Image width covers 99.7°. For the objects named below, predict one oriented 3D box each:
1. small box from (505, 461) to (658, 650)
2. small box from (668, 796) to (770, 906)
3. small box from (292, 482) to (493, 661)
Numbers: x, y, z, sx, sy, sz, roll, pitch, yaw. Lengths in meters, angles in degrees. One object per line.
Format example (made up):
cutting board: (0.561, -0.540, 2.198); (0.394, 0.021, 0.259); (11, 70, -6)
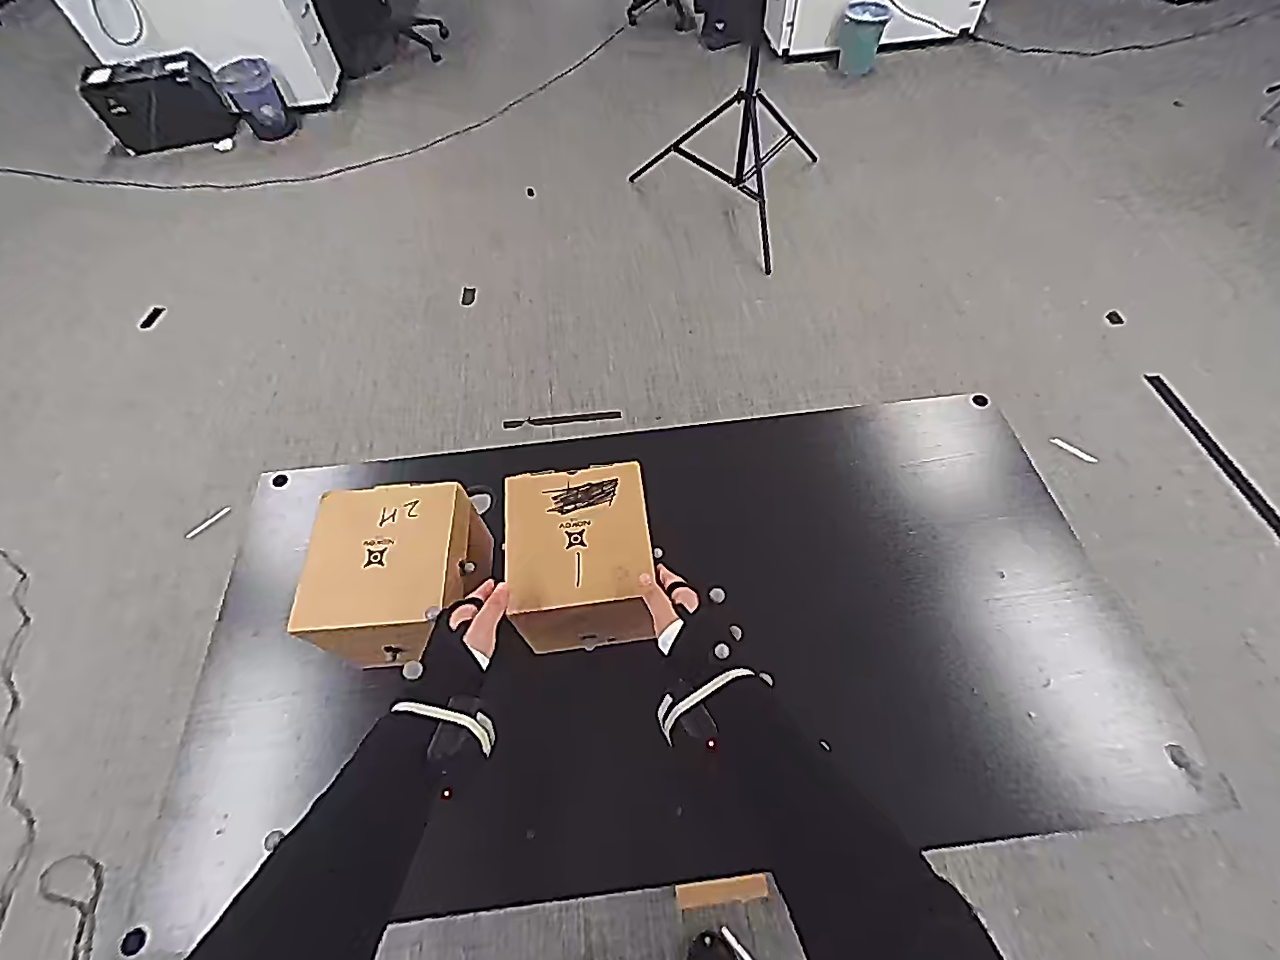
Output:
small box: (-0.069, 0.100, 0.690); (0.168, 0.176, 0.179); (-8, 59, -1)
small box: (0.155, 0.763, 1.126); (0.179, 0.176, 0.168); (-8, 57, -1)
small box: (-0.293, 0.124, 0.686); (0.168, 0.176, 0.179); (-4, 58, -1)
